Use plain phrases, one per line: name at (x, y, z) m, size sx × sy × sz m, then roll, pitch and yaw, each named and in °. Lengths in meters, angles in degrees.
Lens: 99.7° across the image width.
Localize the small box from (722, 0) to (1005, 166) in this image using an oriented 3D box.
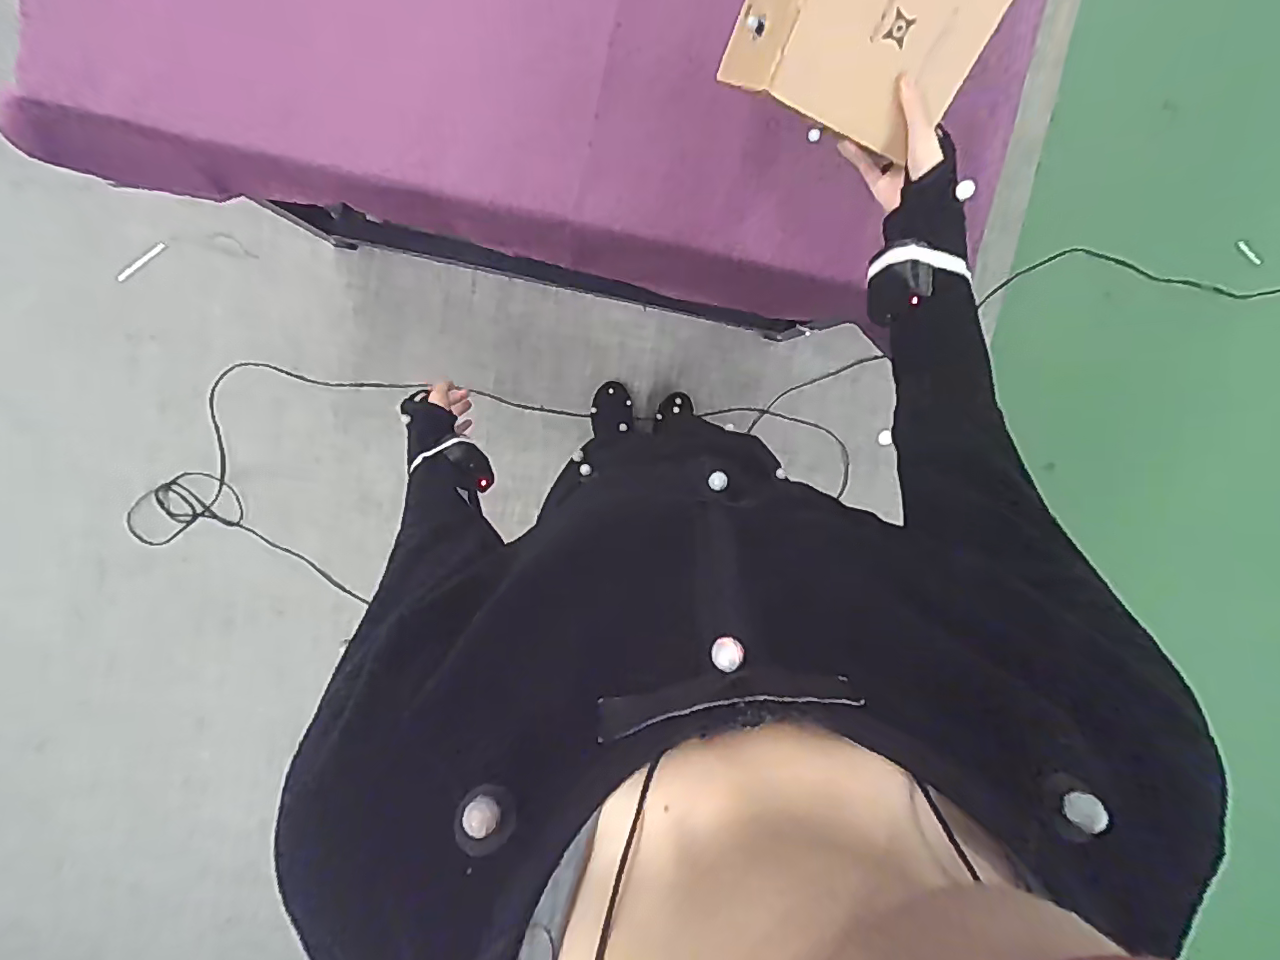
small box at (0.203, -0.438, 0.528) m, size 0.179 × 0.176 × 0.168 m, roll 12°, pitch 125°, yaw -20°
